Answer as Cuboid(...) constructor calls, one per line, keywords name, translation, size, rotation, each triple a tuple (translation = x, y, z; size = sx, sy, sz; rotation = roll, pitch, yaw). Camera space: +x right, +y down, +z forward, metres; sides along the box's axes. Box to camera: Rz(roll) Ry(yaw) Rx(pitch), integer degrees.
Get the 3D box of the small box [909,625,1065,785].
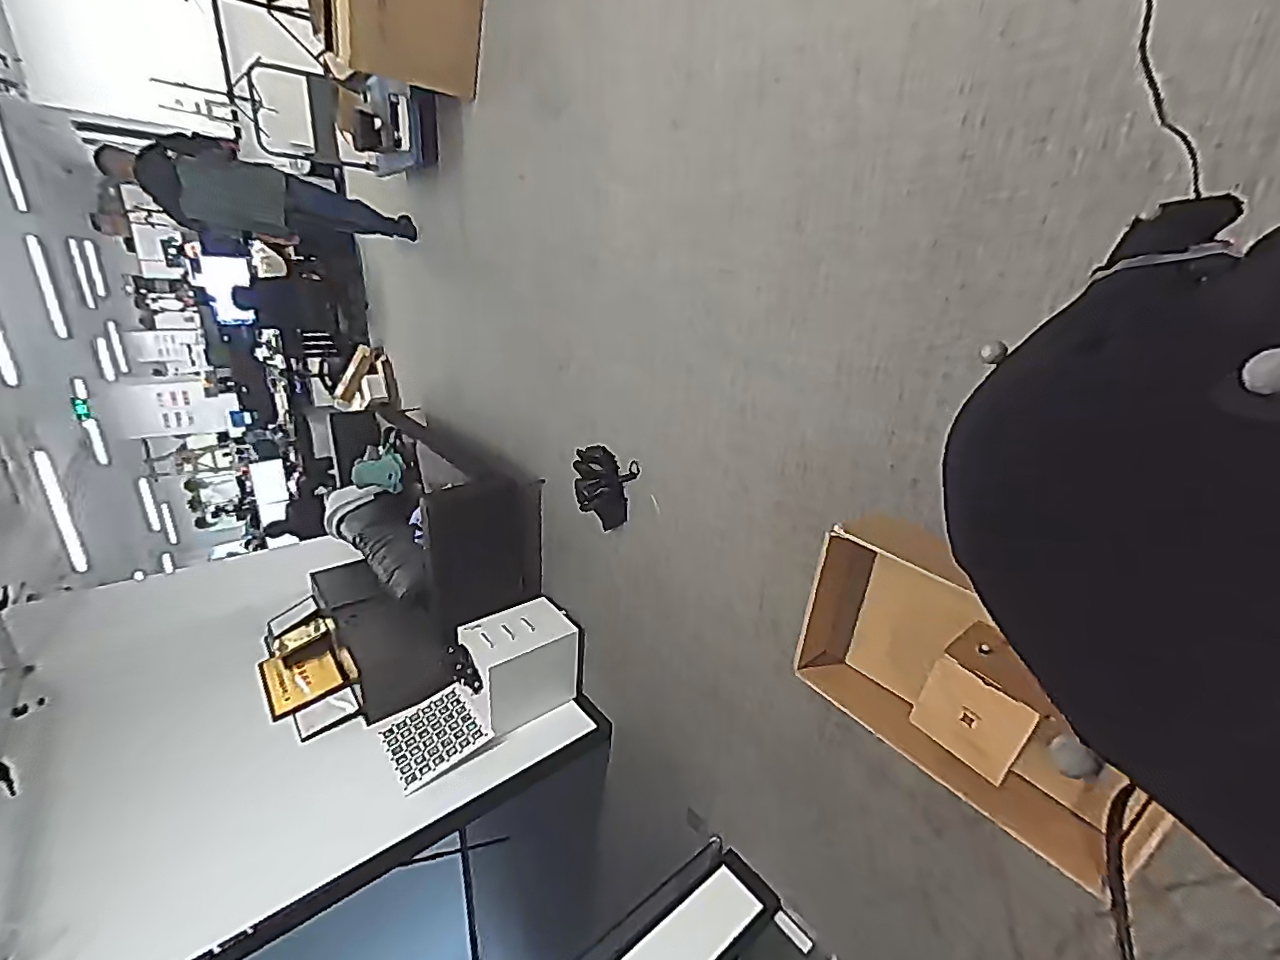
Cuboid(name="small box", translation=(0.633, 0.397, 0.986), size=(0.168, 0.176, 0.179), rotation=(34, 128, 44))
